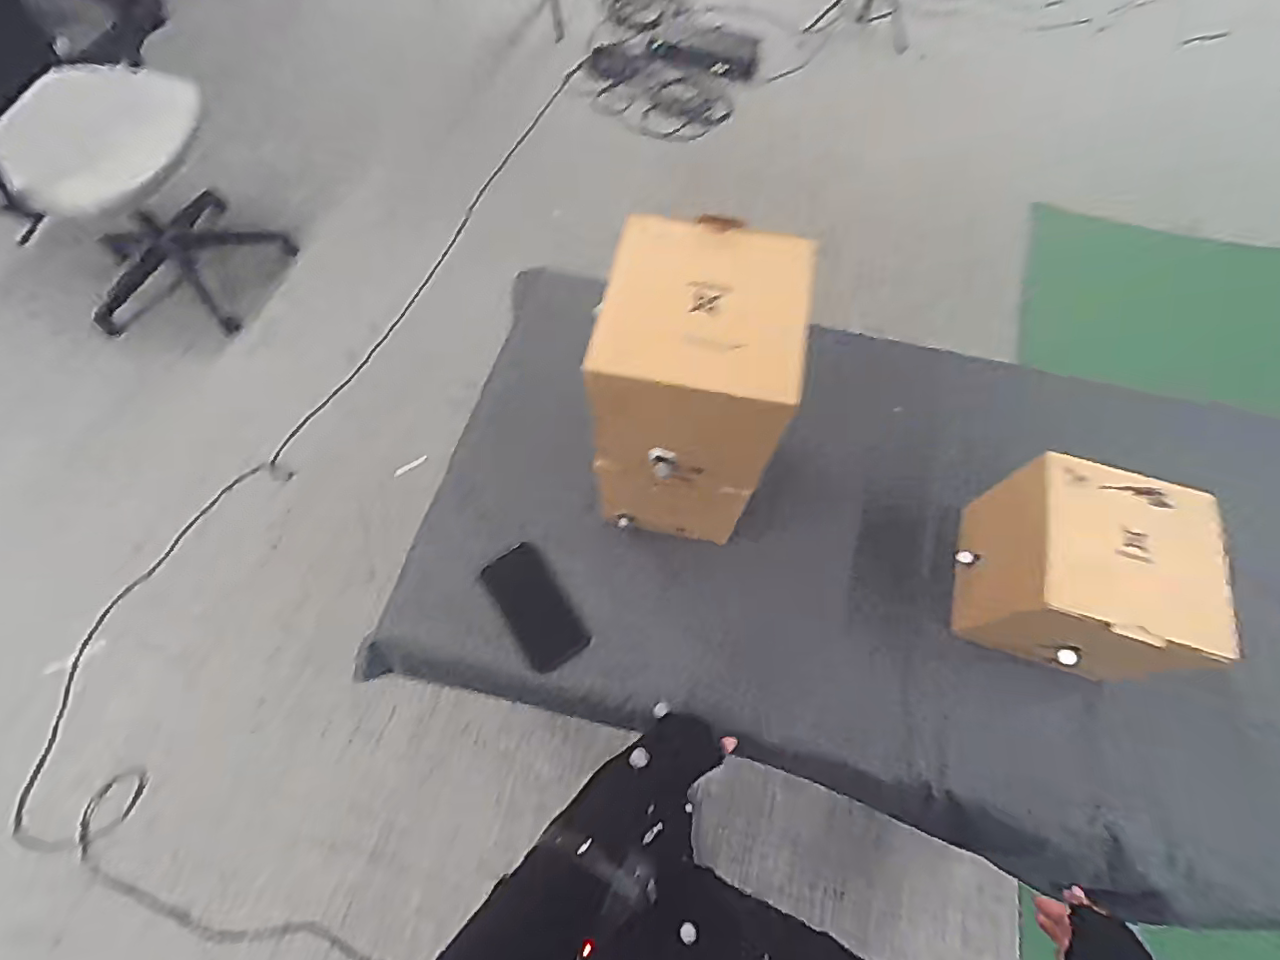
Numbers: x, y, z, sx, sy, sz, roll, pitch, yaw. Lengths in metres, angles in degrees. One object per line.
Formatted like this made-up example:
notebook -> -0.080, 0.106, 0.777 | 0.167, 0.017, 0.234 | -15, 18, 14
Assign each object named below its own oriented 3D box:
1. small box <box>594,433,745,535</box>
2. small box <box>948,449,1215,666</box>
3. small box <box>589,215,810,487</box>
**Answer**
small box -> 0.047, -0.048, 0.667 | 0.168, 0.176, 0.179 | 11, 65, 4
small box -> 0.476, 0.097, 0.610 | 0.168, 0.176, 0.179 | 17, 67, 7
small box -> 0.053, -0.114, 0.520 | 0.168, 0.176, 0.179 | 10, 67, 4
